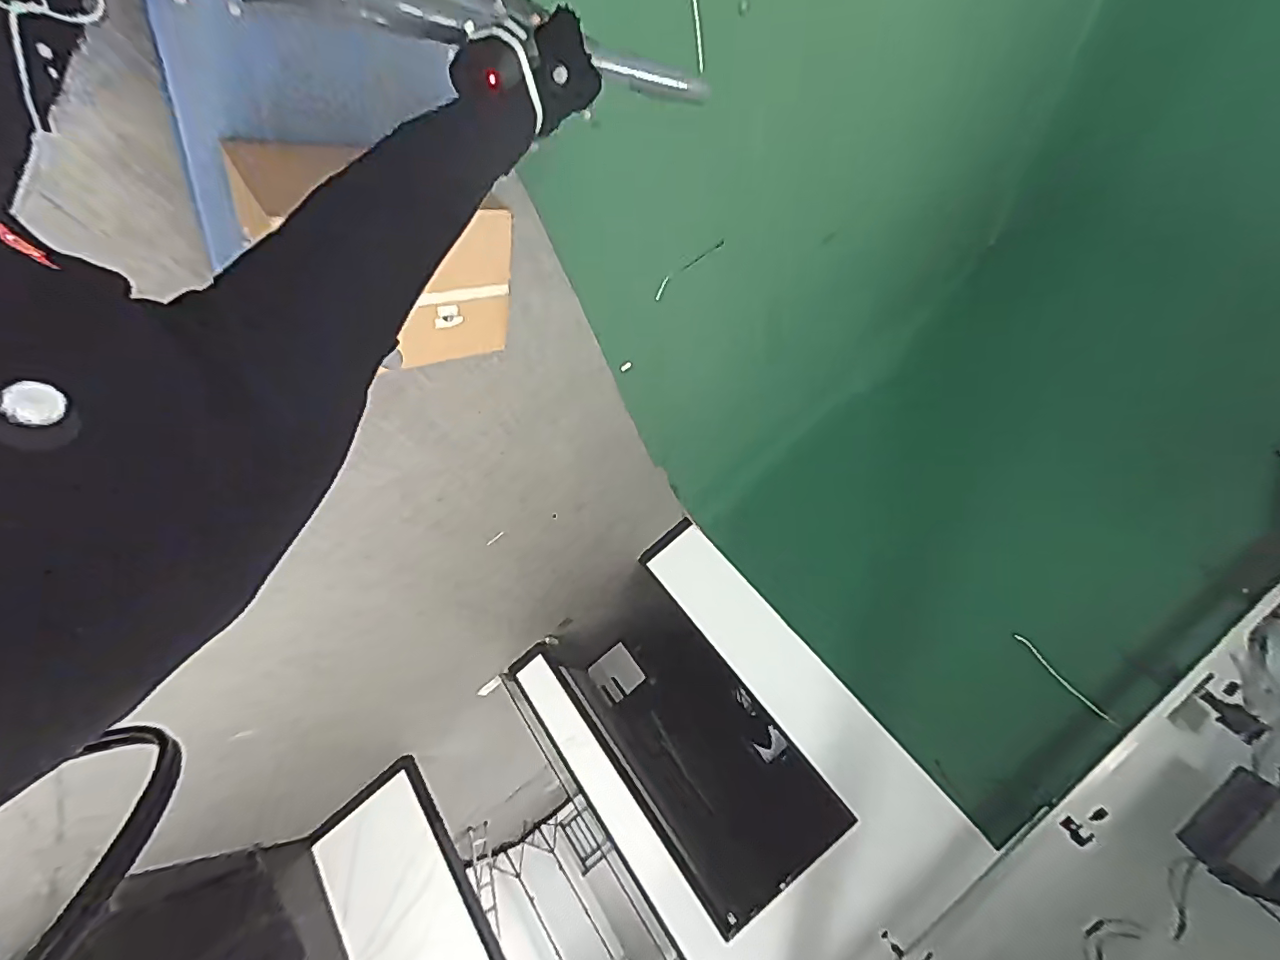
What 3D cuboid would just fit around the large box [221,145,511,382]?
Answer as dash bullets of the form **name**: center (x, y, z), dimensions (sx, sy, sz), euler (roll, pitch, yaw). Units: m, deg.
- **large box**: center (-0.516, -0.449, 1.080), dimensions (0.408, 0.320, 0.320), euler (-24, 148, -34)
